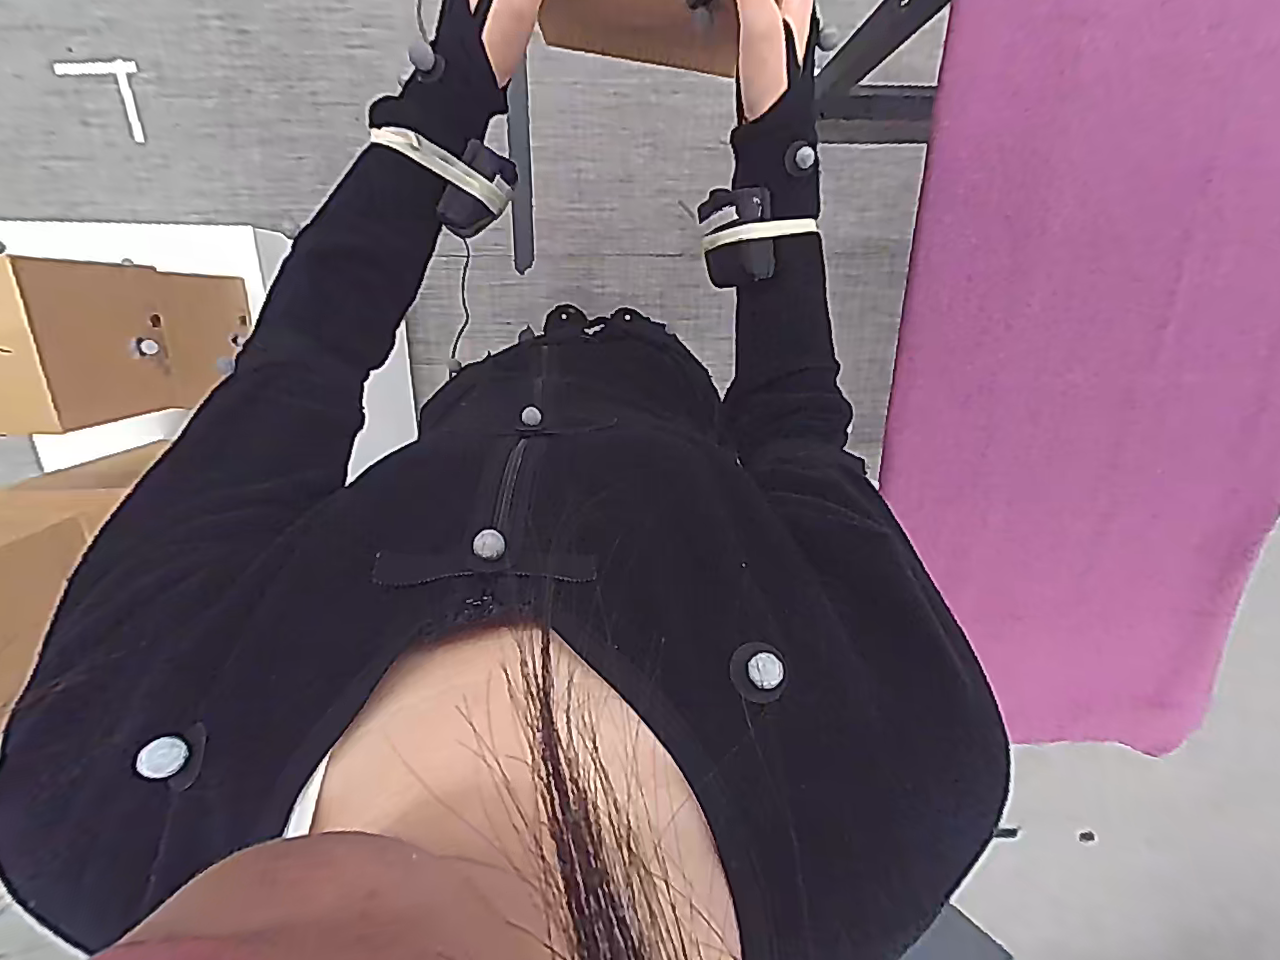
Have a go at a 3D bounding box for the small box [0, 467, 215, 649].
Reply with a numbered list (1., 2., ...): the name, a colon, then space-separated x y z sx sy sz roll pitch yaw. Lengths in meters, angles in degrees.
1. small box: -0.656 0.085 0.647 0.179 0.176 0.168 -1 108 -2

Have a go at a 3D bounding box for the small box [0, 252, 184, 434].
1. small box: -0.643 -0.150 0.568 0.179 0.176 0.168 1 109 -4

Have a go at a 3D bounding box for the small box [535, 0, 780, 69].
1. small box: 0.017 -0.416 0.370 0.179 0.176 0.168 8 109 -3
